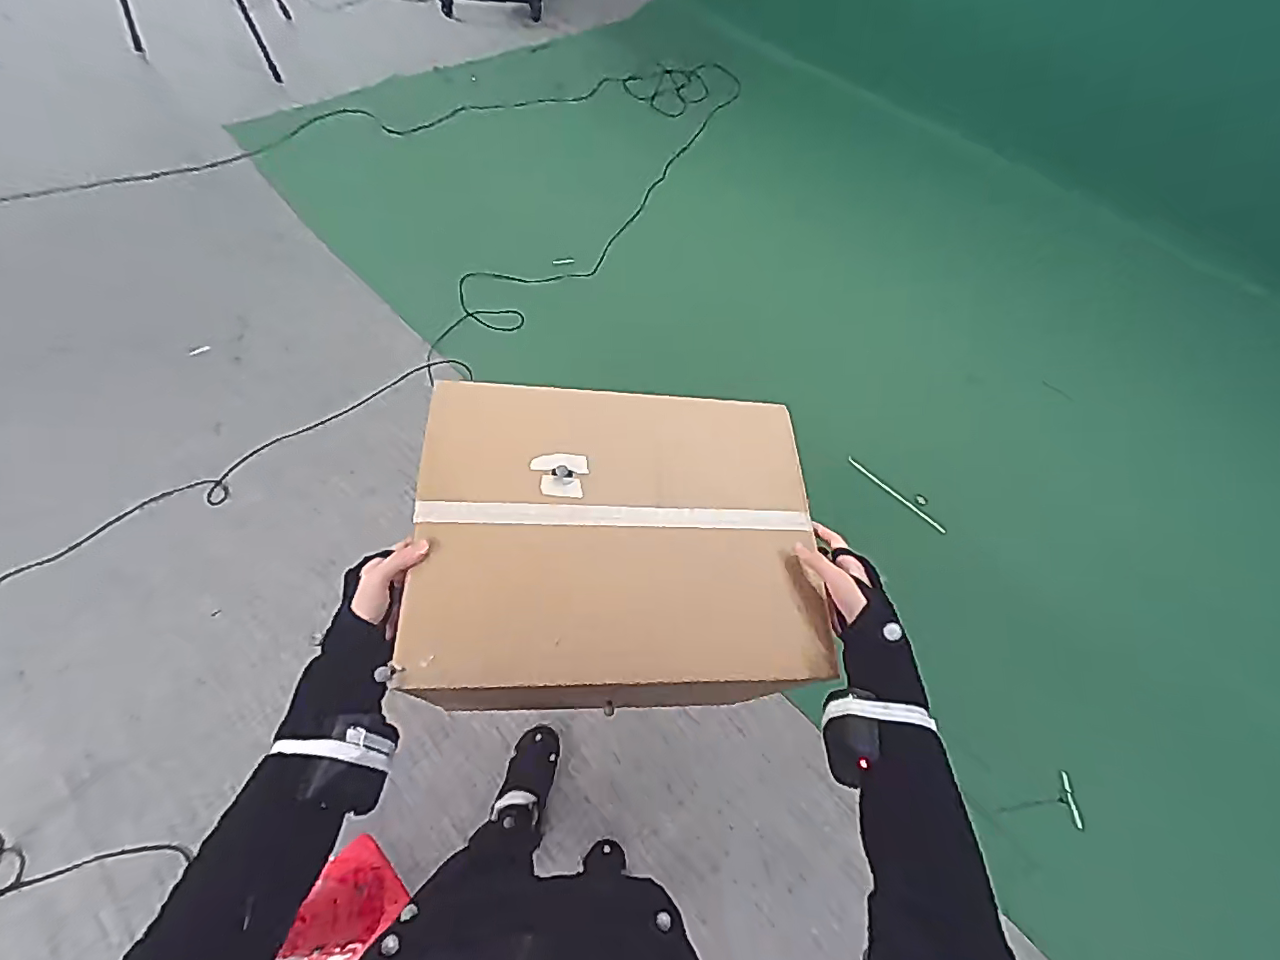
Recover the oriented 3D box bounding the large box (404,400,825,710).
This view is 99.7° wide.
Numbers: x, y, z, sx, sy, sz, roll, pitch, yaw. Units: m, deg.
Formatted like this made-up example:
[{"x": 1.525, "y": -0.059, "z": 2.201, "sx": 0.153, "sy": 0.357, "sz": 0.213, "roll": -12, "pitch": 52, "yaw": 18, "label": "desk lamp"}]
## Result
[{"x": -0.040, "y": 0.117, "z": 0.696, "sx": 0.408, "sy": 0.320, "sz": 0.320, "roll": 2, "pitch": 63, "yaw": -9, "label": "large box"}]
